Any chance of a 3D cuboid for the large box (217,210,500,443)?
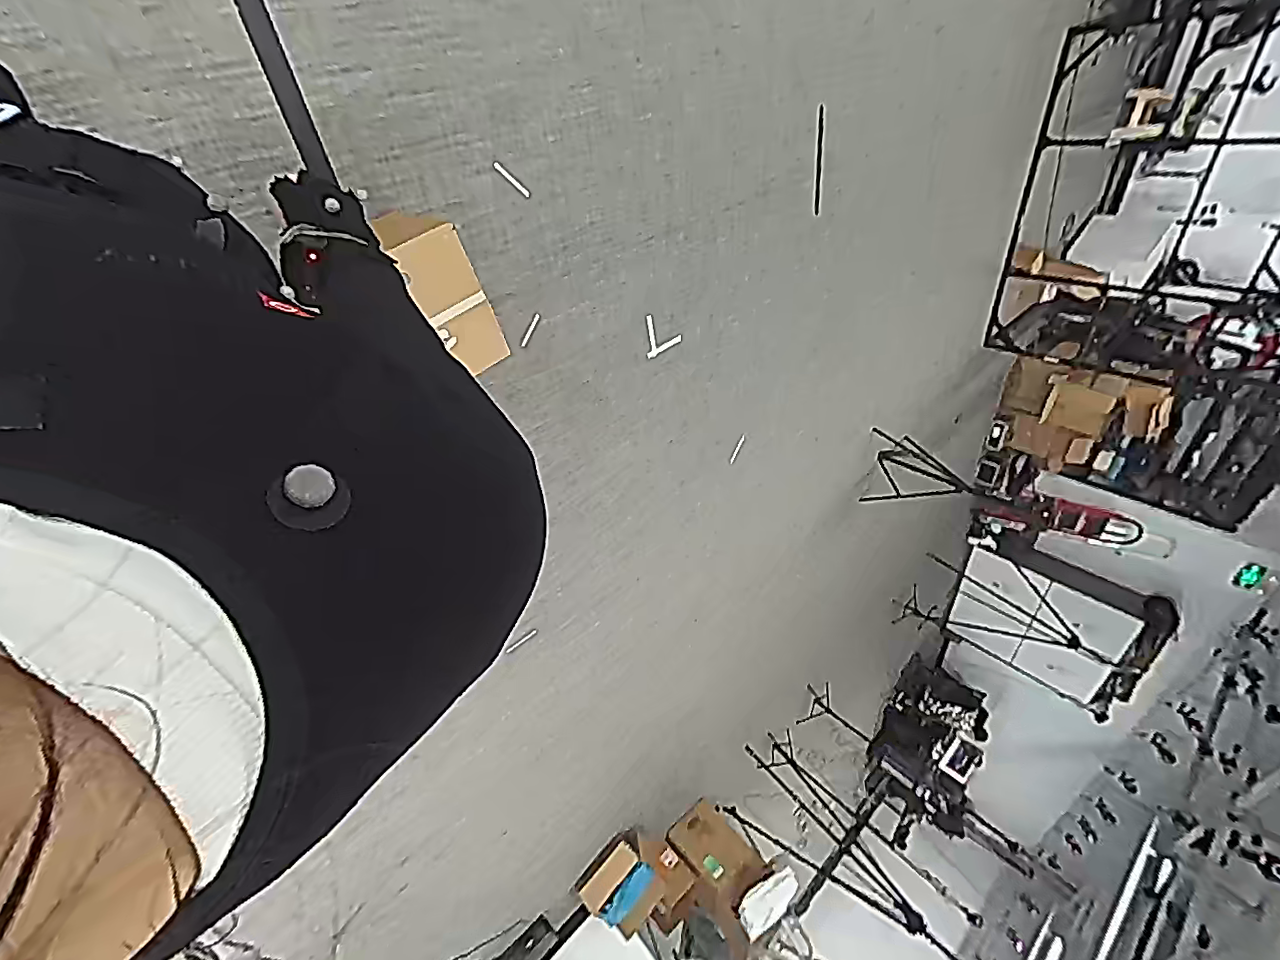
[{"bbox_3d":[-0.602,-0.355,1.191,0.408,0.320,0.320,-40,138,-23],"label":"large box"}]
